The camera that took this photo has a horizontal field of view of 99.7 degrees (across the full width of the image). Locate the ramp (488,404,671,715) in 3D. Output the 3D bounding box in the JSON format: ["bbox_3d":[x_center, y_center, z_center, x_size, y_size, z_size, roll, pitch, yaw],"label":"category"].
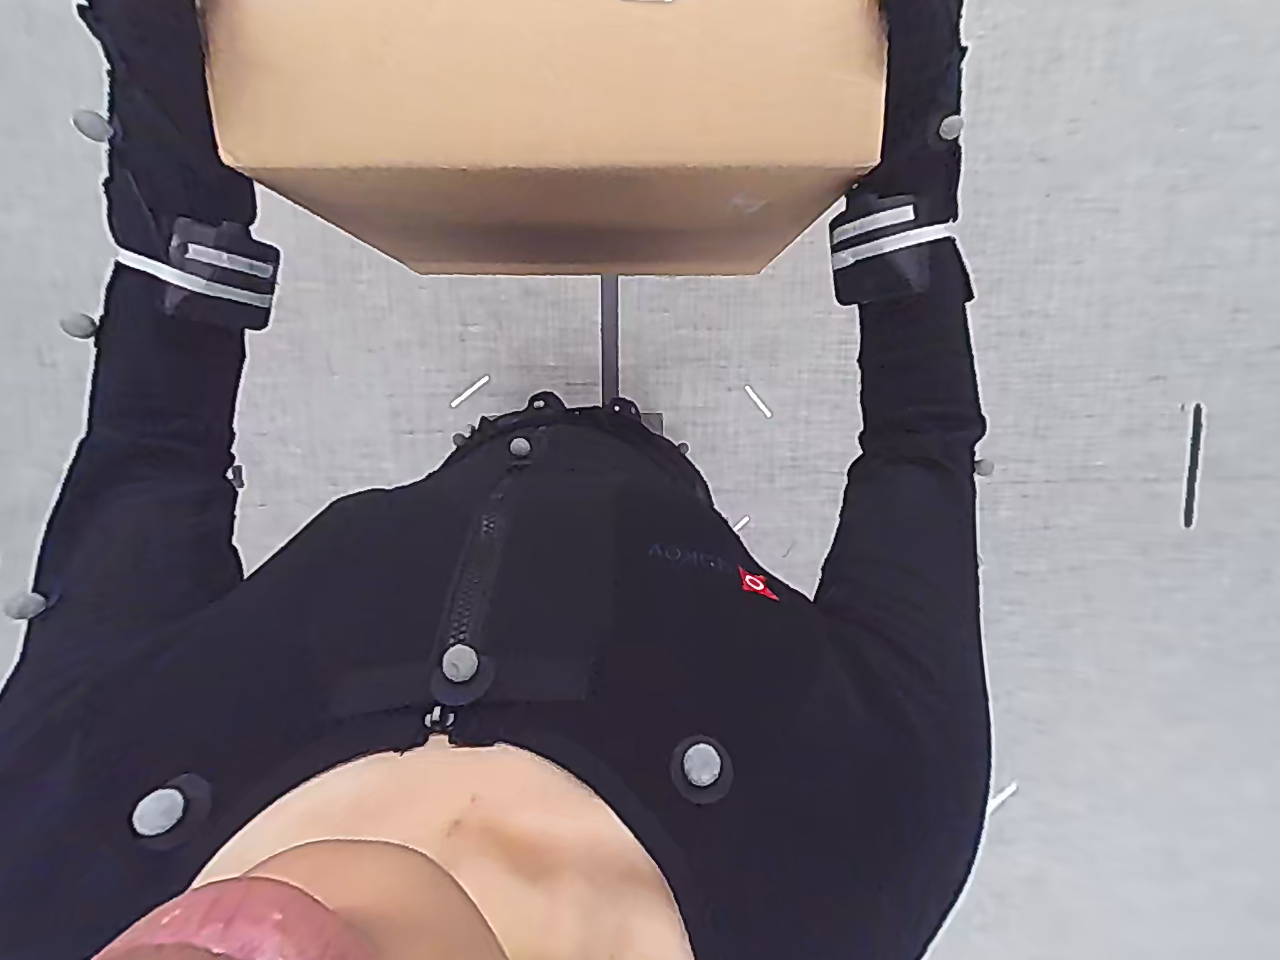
[{"bbox_3d":[-0.152,0.275,1.602,0.509,0.206,0.991,-3,98,-2],"label":"ramp"}]

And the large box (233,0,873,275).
[{"bbox_3d":[-0.057,-0.378,0.474,0.408,0.320,0.320,-1,99,-1],"label":"large box"}]
